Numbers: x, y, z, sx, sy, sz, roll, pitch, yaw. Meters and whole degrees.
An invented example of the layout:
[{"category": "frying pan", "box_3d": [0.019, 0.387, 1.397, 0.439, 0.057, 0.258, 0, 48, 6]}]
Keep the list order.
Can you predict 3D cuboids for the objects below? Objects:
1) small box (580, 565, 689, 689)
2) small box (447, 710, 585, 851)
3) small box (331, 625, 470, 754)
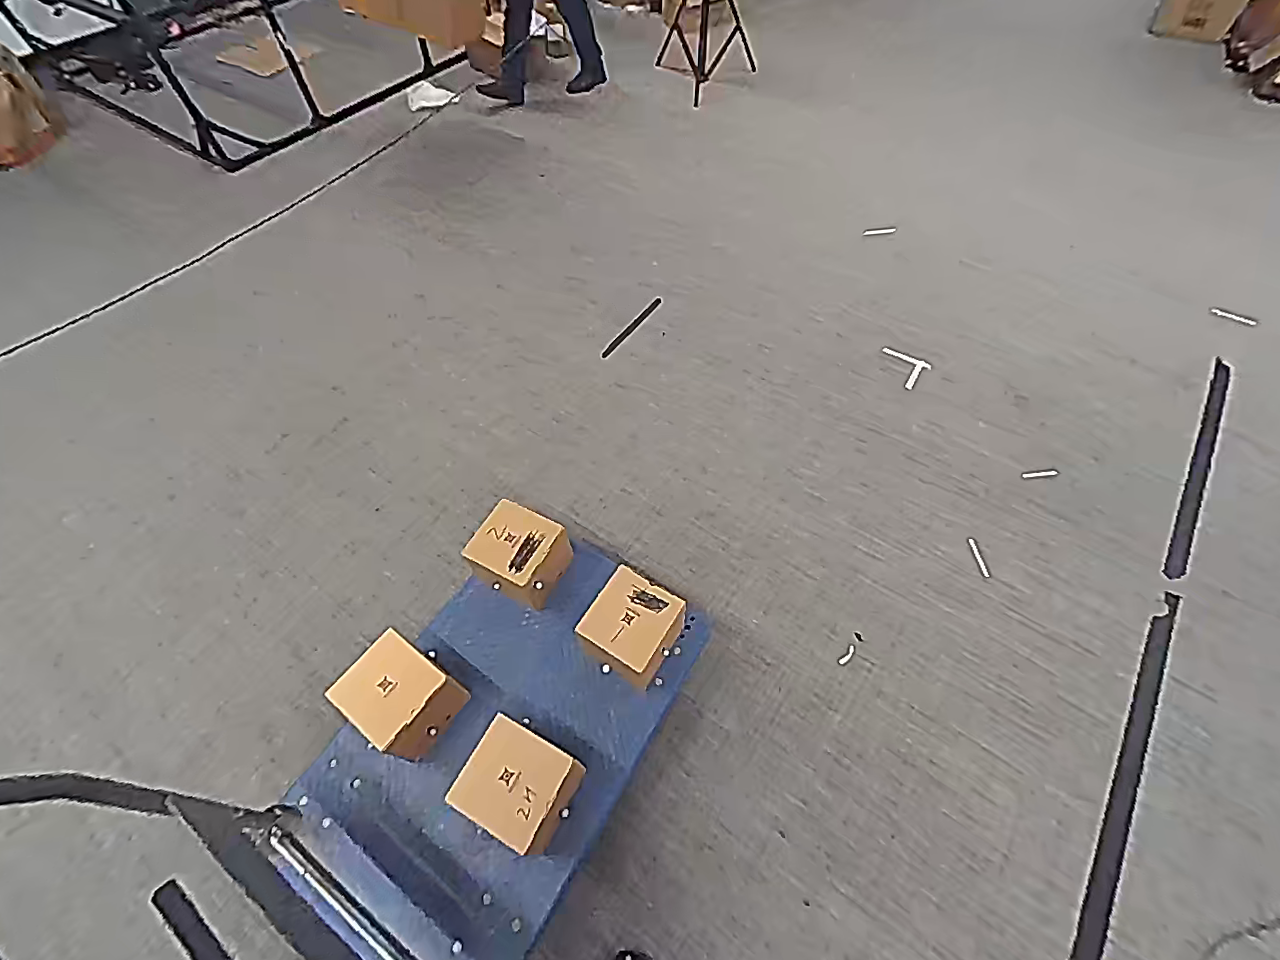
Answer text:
[{"category": "small box", "box_3d": [-0.009, 0.323, 1.179, 0.168, 0.176, 0.179, 29, 63, 19]}, {"category": "small box", "box_3d": [-0.223, 0.570, 1.022, 0.179, 0.176, 0.168, 24, 60, 17]}, {"category": "small box", "box_3d": [-0.485, 0.439, 1.120, 0.179, 0.176, 0.168, 32, 62, 19]}]
